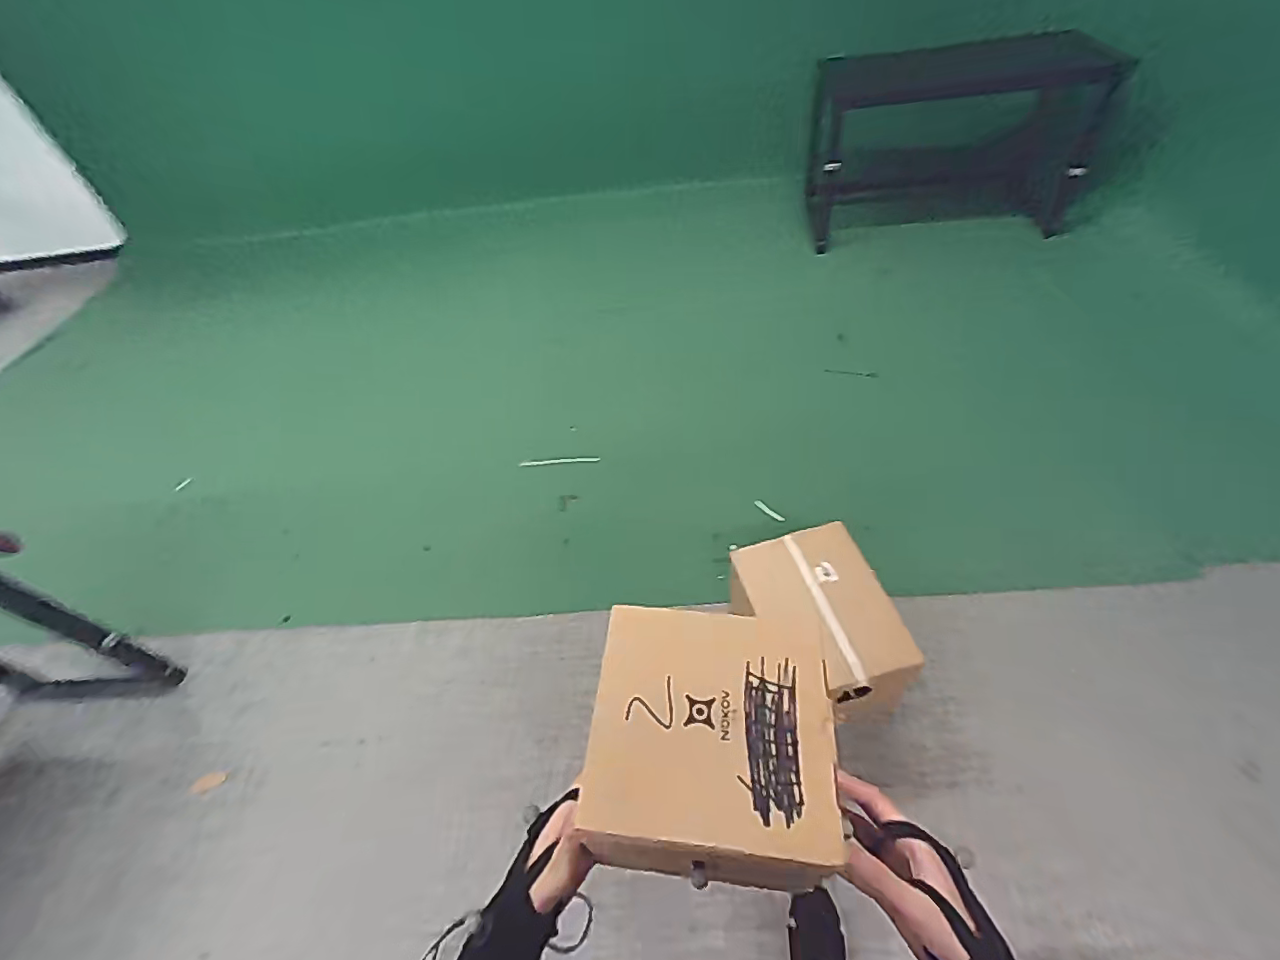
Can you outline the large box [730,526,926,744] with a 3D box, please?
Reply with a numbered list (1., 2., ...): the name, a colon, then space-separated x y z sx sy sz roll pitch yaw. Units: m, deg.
1. large box: 0.447 0.396 1.397 0.320 0.320 0.408 -14 47 -4
